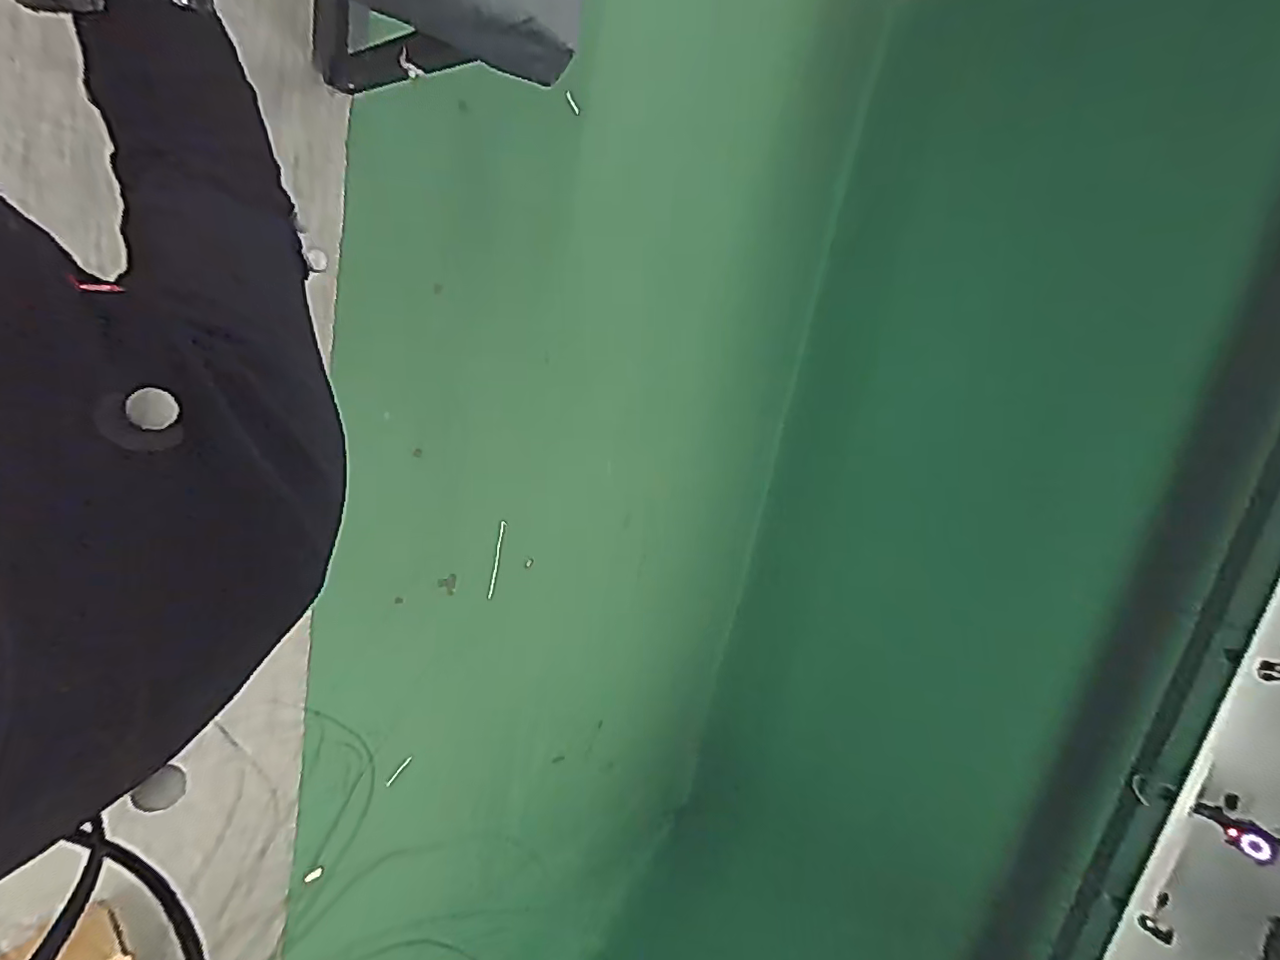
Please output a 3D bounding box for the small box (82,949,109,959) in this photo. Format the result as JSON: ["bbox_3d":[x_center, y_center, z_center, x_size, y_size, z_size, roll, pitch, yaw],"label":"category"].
[{"bbox_3d":[-1.322,1.260,1.244,0.179,0.176,0.168,-18,121,-48],"label":"small box"}]
